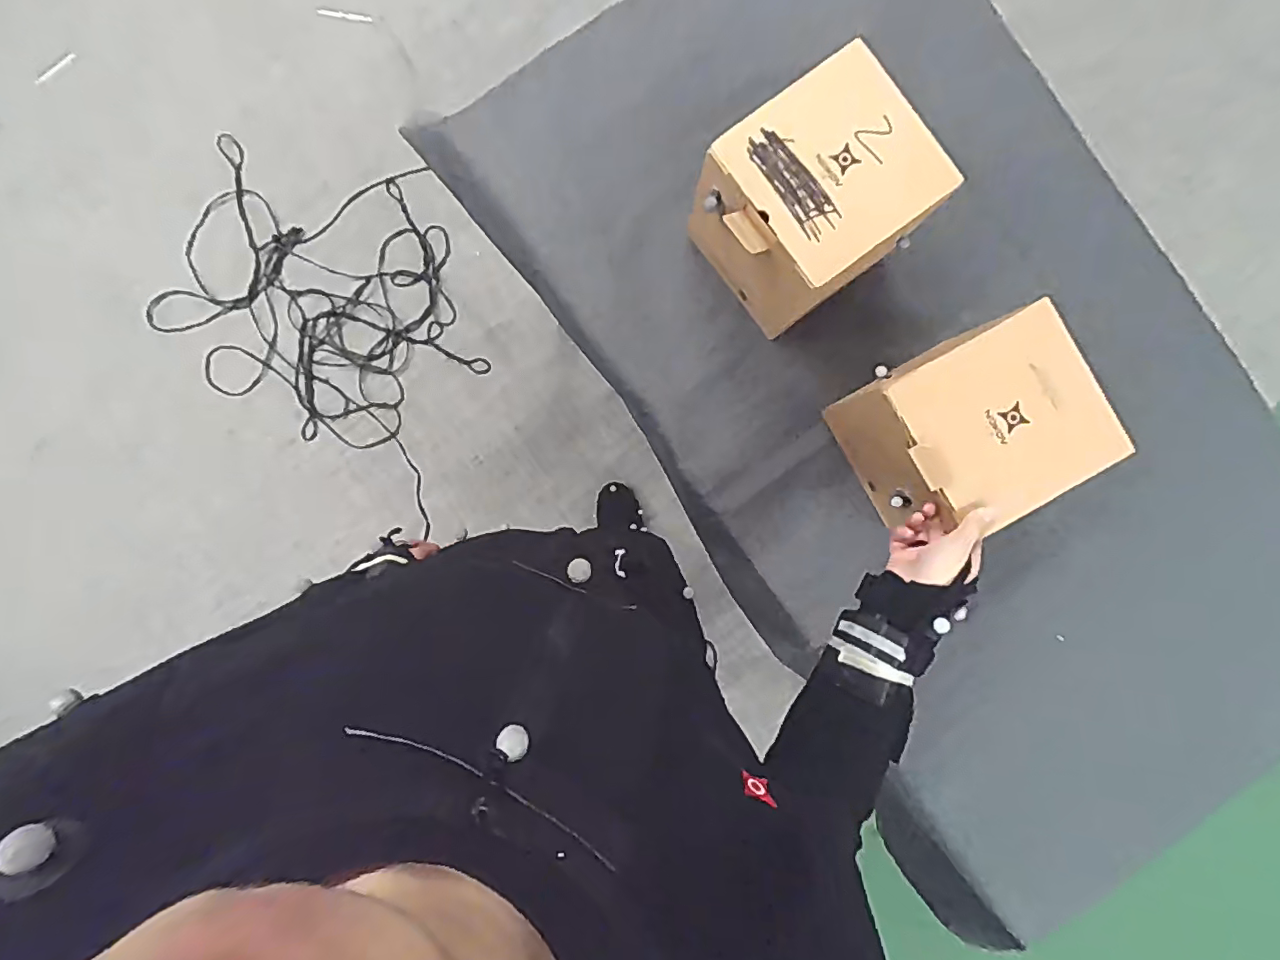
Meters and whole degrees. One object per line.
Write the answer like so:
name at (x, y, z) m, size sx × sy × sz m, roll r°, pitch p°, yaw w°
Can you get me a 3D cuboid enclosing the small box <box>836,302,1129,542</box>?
small box at (0.335, -0.052, 0.574) m, size 0.179 × 0.176 × 0.168 m, roll -30°, pitch 91°, yaw -1°
